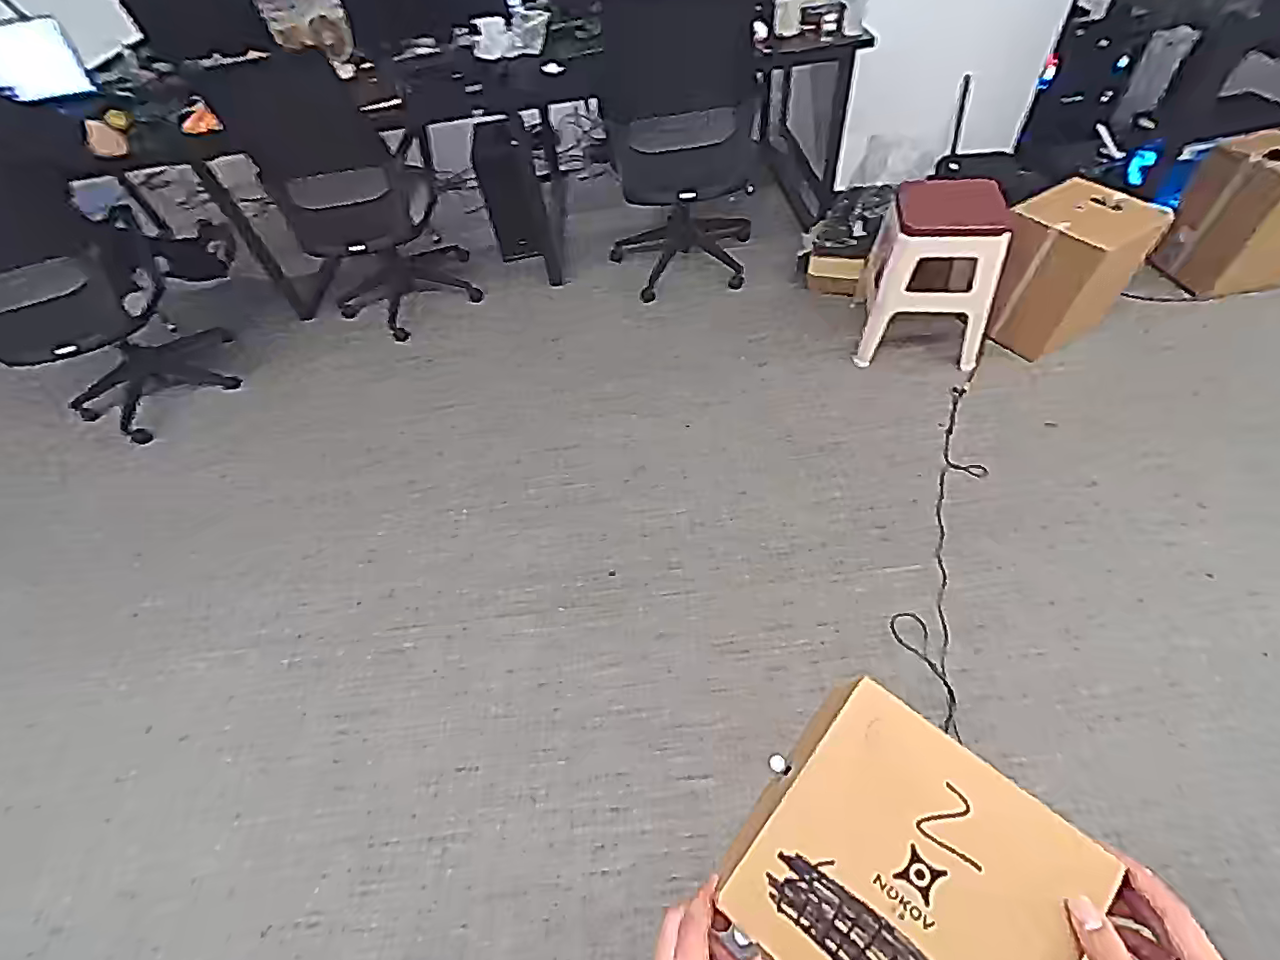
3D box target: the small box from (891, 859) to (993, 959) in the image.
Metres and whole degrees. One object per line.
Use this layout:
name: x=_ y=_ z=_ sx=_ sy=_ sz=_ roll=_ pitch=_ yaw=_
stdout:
small box: x=0.559 y=0.772 z=0.934 sx=0.168 sy=0.176 sz=0.179 roll=-8 pitch=53 yaw=3

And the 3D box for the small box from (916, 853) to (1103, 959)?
small box: x=0.542 y=0.673 z=0.802 sx=0.168 sy=0.176 sz=0.179 roll=-9 pitch=53 yaw=2
